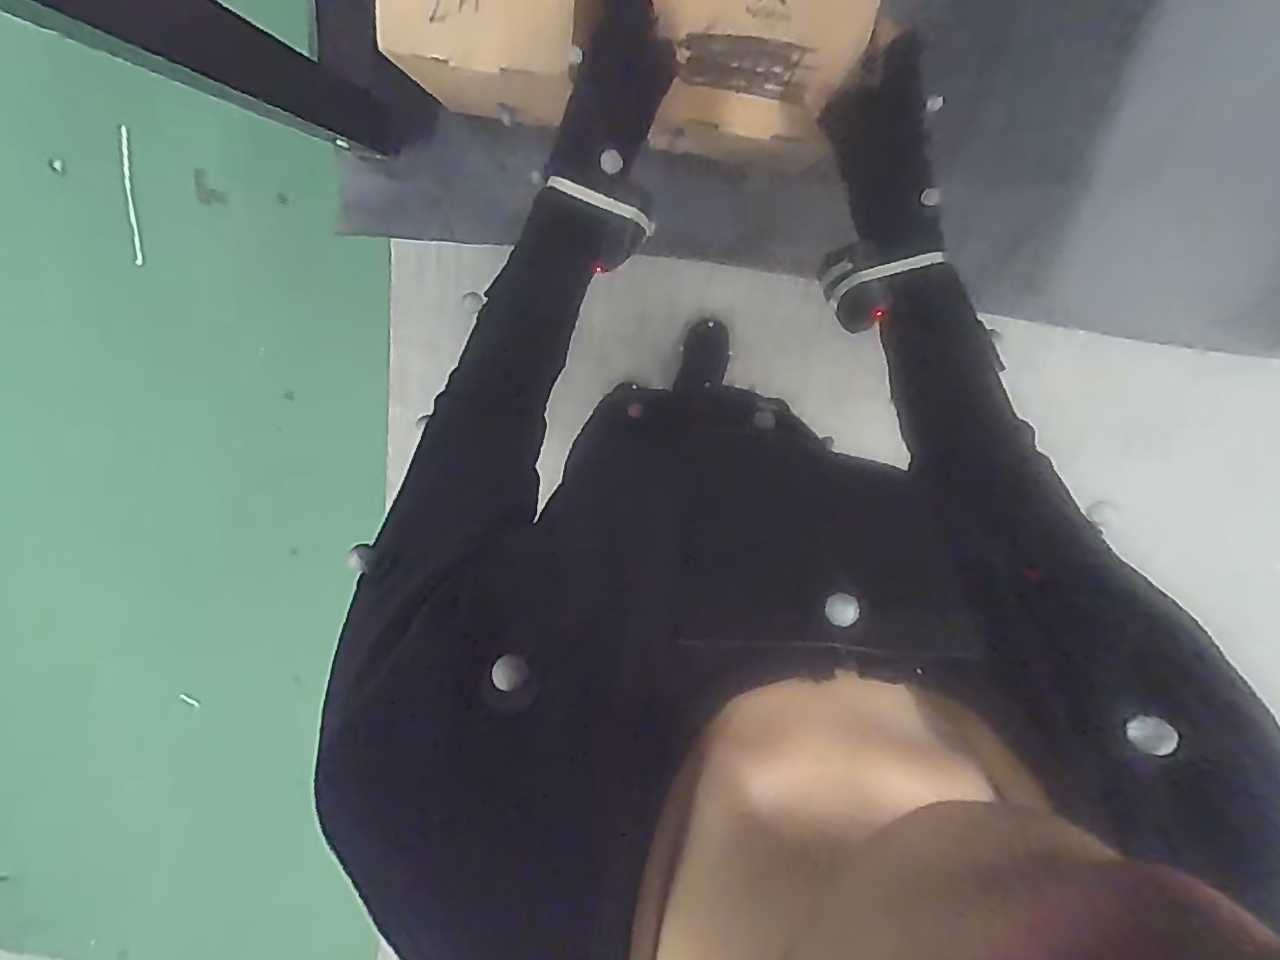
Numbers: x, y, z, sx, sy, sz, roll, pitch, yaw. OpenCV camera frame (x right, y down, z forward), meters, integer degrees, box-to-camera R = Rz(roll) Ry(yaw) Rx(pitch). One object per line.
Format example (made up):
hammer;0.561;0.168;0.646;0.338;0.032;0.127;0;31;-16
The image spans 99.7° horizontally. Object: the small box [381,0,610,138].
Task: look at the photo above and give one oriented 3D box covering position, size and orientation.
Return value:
small box;-0.121;-0.452;0.506;0.168;0.176;0.179;8;109;0
